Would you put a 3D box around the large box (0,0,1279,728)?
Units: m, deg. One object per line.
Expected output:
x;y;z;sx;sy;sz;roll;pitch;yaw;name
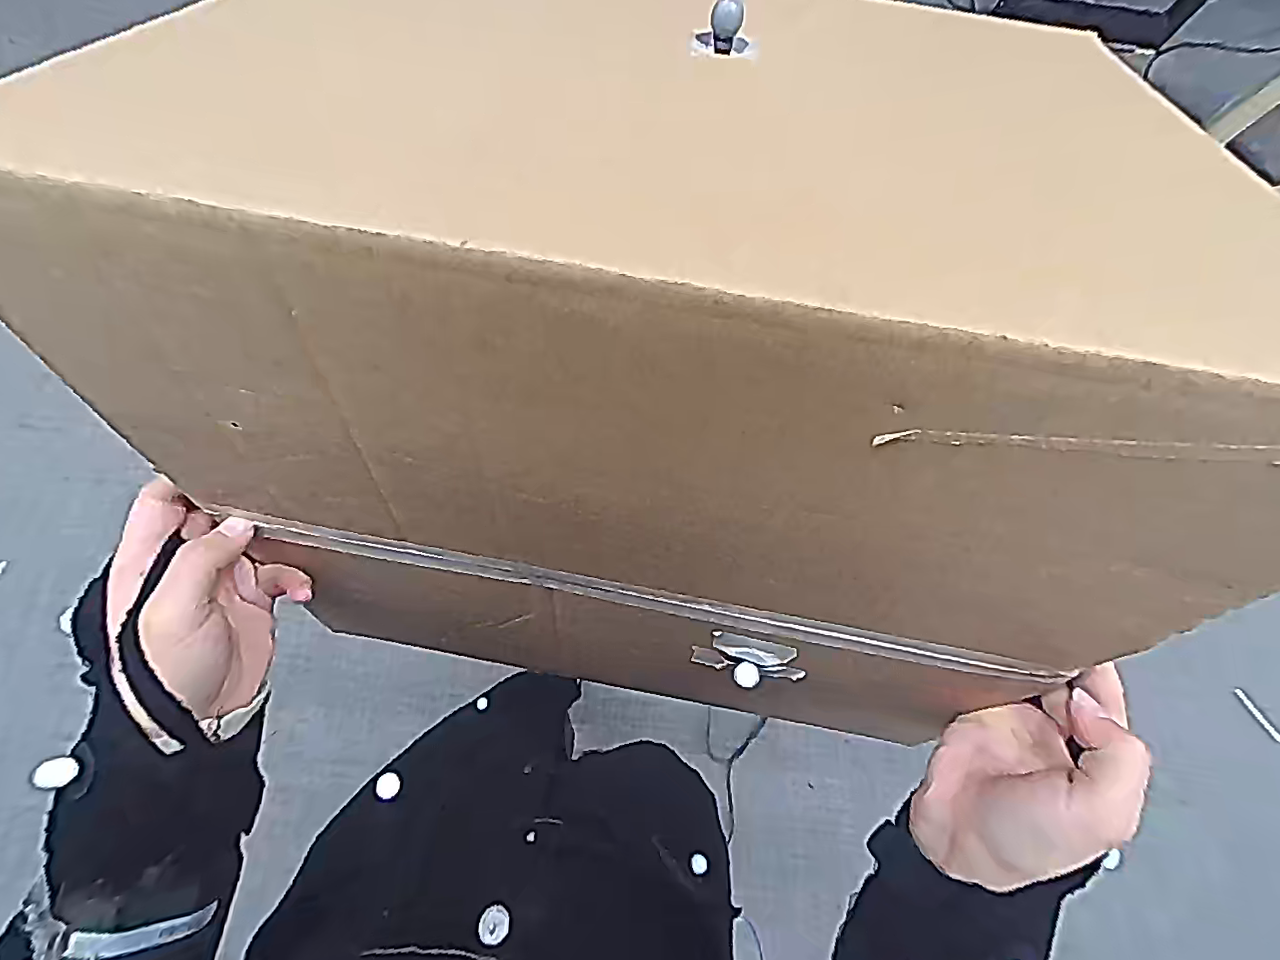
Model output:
0.015;-0.072;0.346;0.408;0.320;0.320;10;54;2;large box
